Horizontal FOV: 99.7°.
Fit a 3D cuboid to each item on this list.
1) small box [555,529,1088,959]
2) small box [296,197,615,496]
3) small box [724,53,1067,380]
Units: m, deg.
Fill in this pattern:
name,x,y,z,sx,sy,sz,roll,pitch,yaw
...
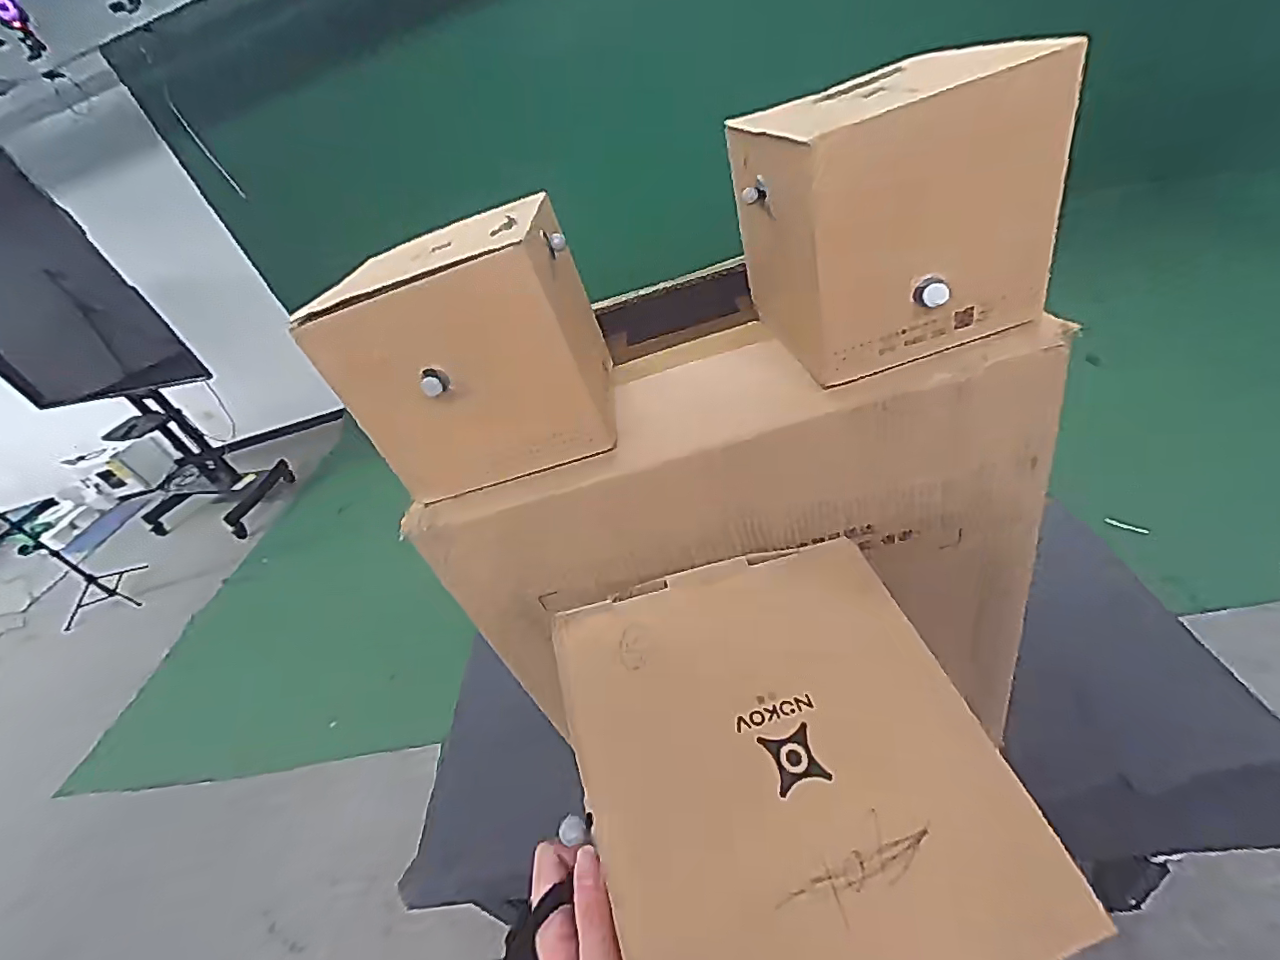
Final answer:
name,x,y,z,sx,sy,sz,roll,pitch,yaw
small box,0.057,0.158,0.289,0.168,0.176,0.179,-14,53,-12
small box,-0.133,-0.110,0.465,0.179,0.176,0.168,-17,37,9
small box,0.178,-0.204,0.427,0.168,0.176,0.179,-18,37,3
